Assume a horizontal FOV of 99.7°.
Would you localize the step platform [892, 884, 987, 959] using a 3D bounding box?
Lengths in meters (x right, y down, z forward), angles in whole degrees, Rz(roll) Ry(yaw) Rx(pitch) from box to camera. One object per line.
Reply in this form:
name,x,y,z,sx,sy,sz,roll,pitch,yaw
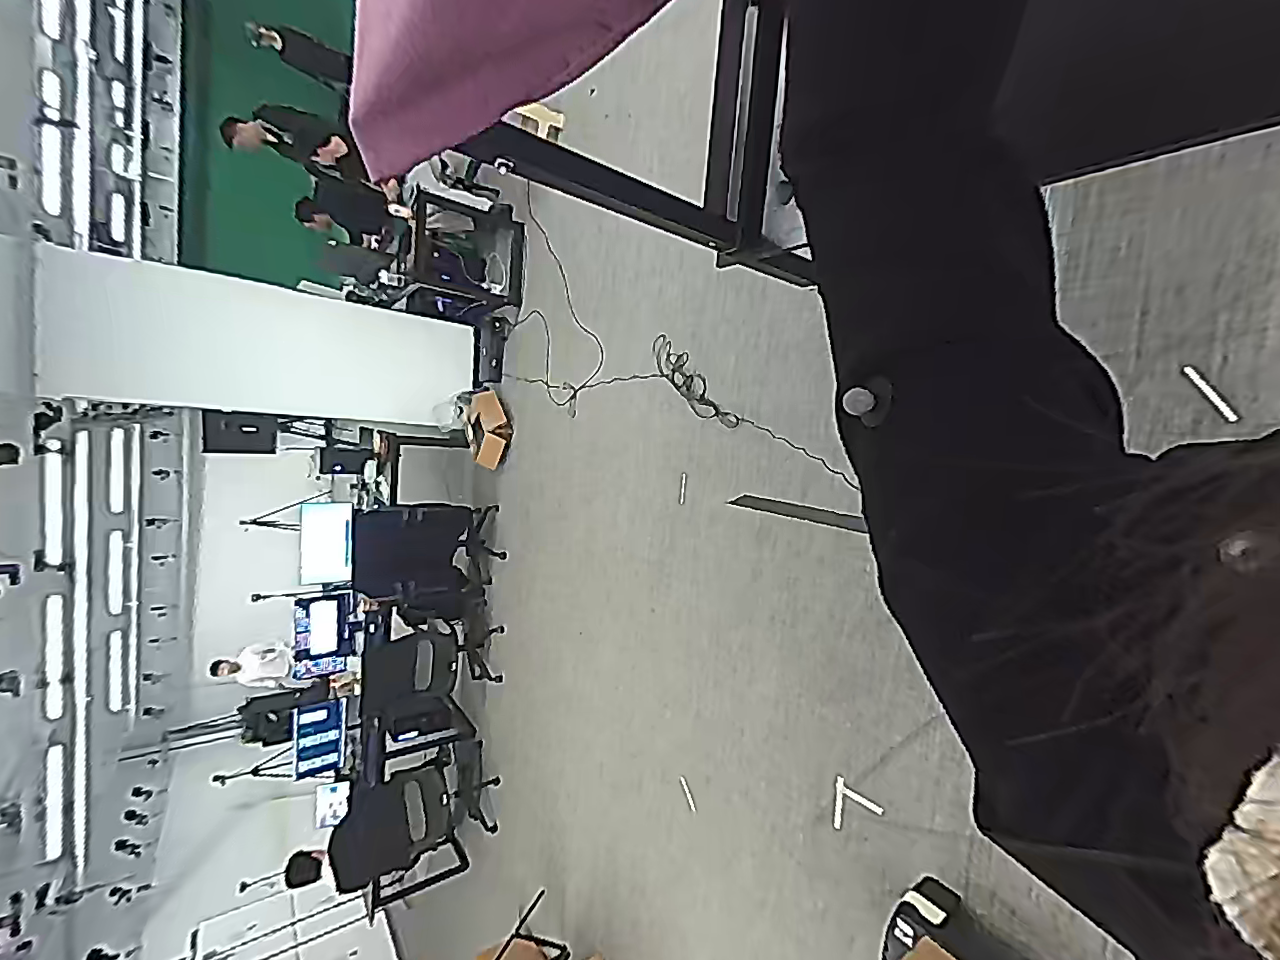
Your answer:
step platform,0.921,1.303,1.199,0.684,0.204,0.286,20,105,51
